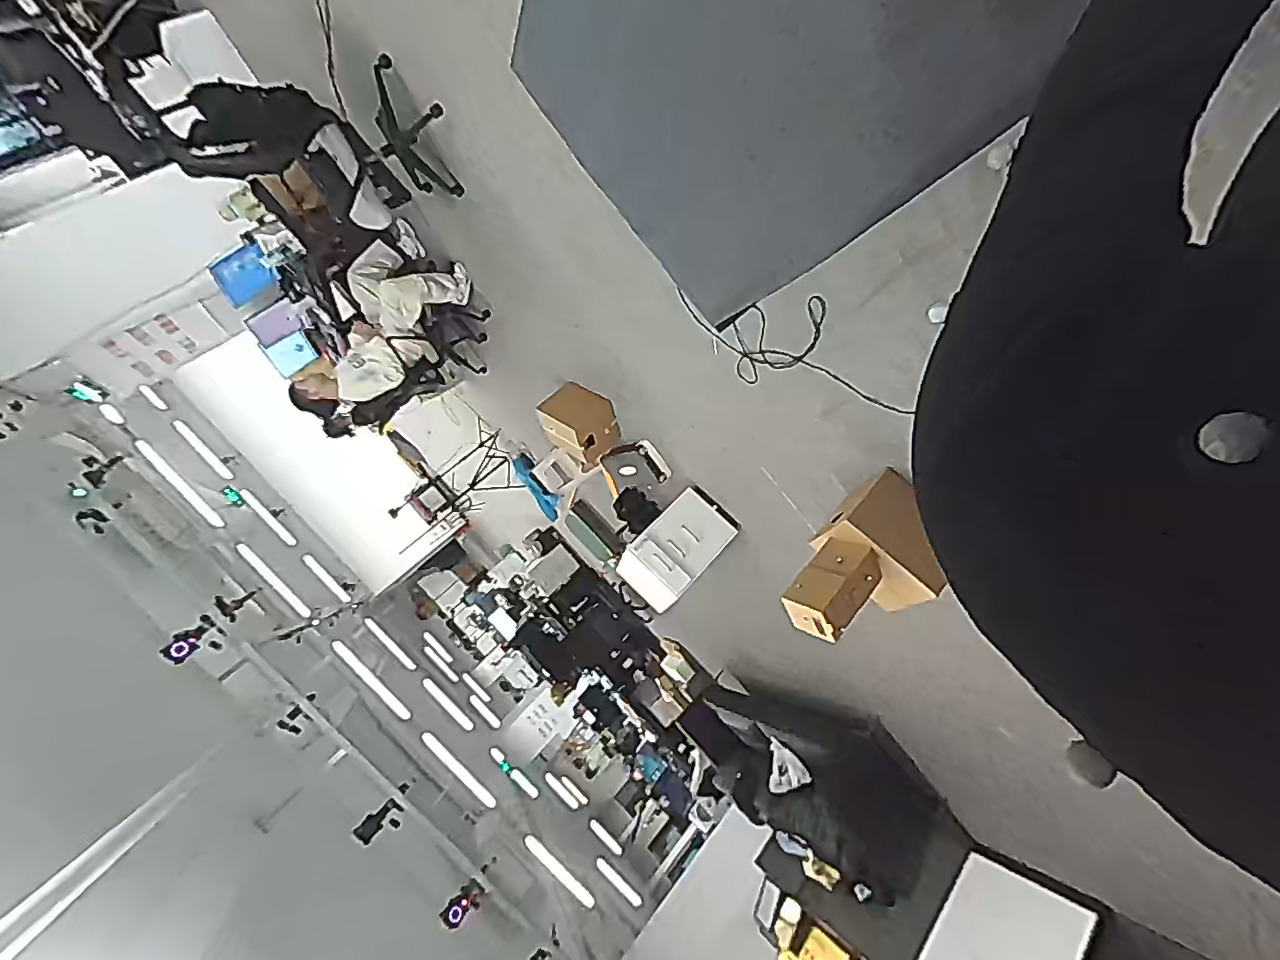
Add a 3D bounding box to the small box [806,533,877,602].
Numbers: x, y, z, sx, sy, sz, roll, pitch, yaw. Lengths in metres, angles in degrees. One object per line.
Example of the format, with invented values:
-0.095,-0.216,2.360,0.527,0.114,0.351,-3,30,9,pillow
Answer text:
0.754,0.319,2.002,0.179,0.176,0.168,11,138,52,small box
